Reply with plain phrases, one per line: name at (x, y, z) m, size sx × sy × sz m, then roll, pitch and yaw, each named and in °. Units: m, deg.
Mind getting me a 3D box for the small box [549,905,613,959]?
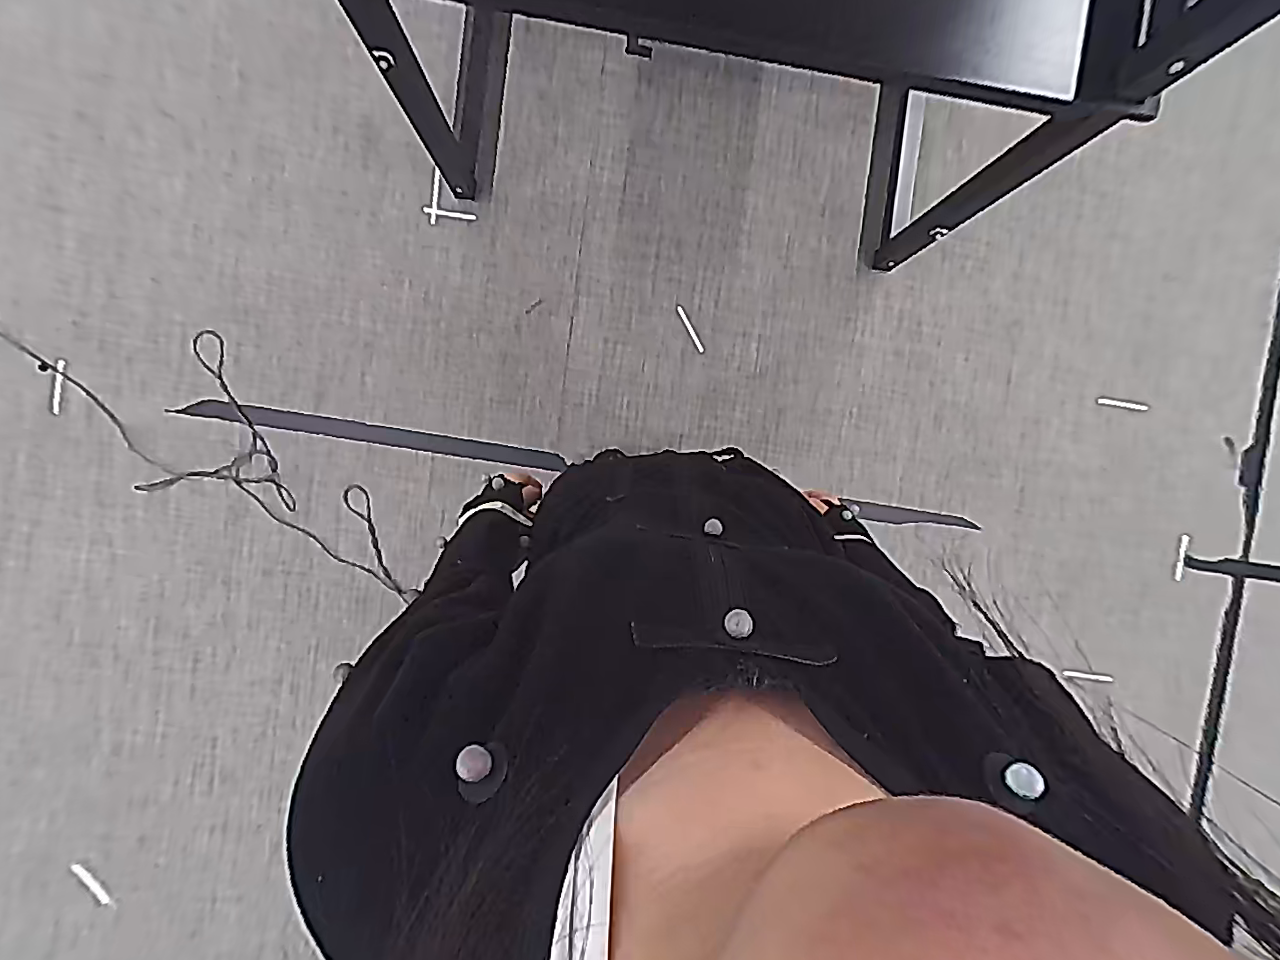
small box at (-0.156, 1.280, 1.446) m, size 0.168 × 0.176 × 0.179 m, roll -1°, pitch 93°, yaw -4°
